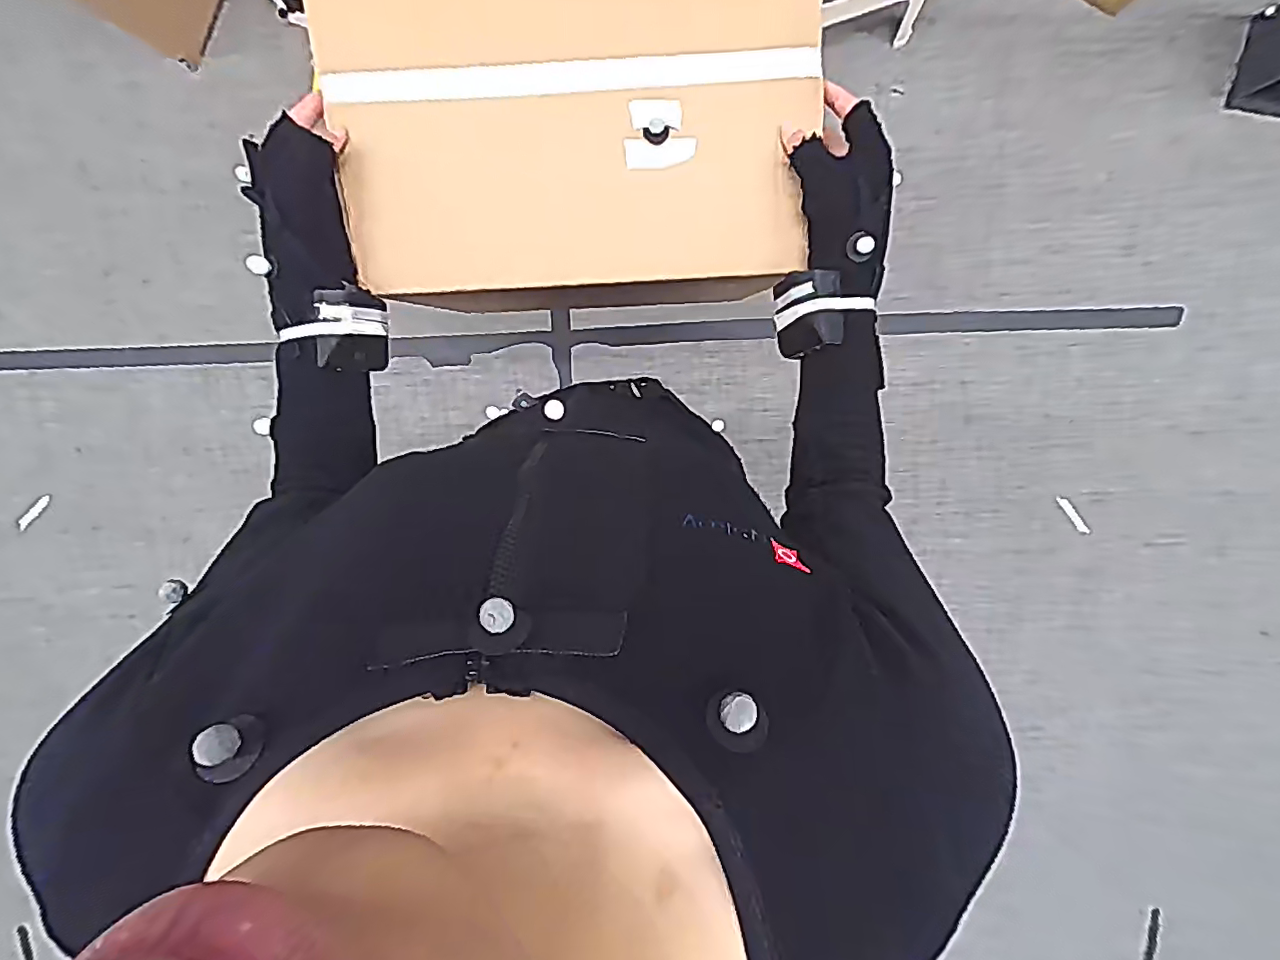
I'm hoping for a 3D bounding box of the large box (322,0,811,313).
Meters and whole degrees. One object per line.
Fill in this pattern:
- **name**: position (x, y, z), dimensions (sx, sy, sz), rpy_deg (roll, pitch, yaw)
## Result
- **large box**: position (-0.060, -0.367, 0.597), dimensions (0.408, 0.320, 0.320), rpy_deg (-3, 104, -1)
